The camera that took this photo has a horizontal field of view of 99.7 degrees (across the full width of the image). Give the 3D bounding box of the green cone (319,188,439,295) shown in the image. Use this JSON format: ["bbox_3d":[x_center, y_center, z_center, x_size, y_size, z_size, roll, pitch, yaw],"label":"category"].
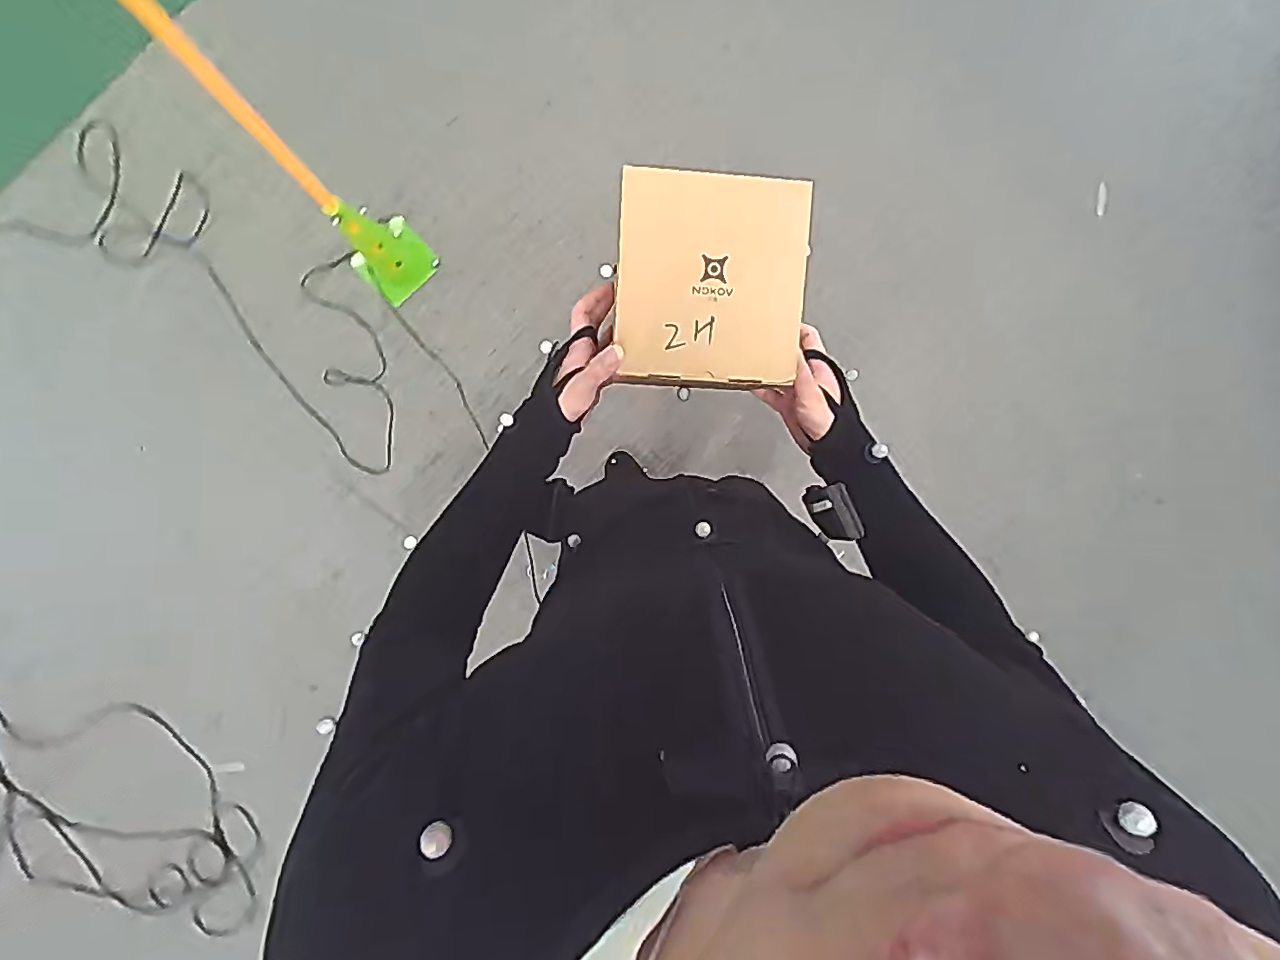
[{"bbox_3d":[-0.718,-0.668,1.419,0.202,0.368,0.200,-43,92,2],"label":"green cone"}]

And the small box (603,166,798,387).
[{"bbox_3d":[0.048,-0.191,0.557,0.168,0.176,0.179,2,99,-4],"label":"small box"}]
